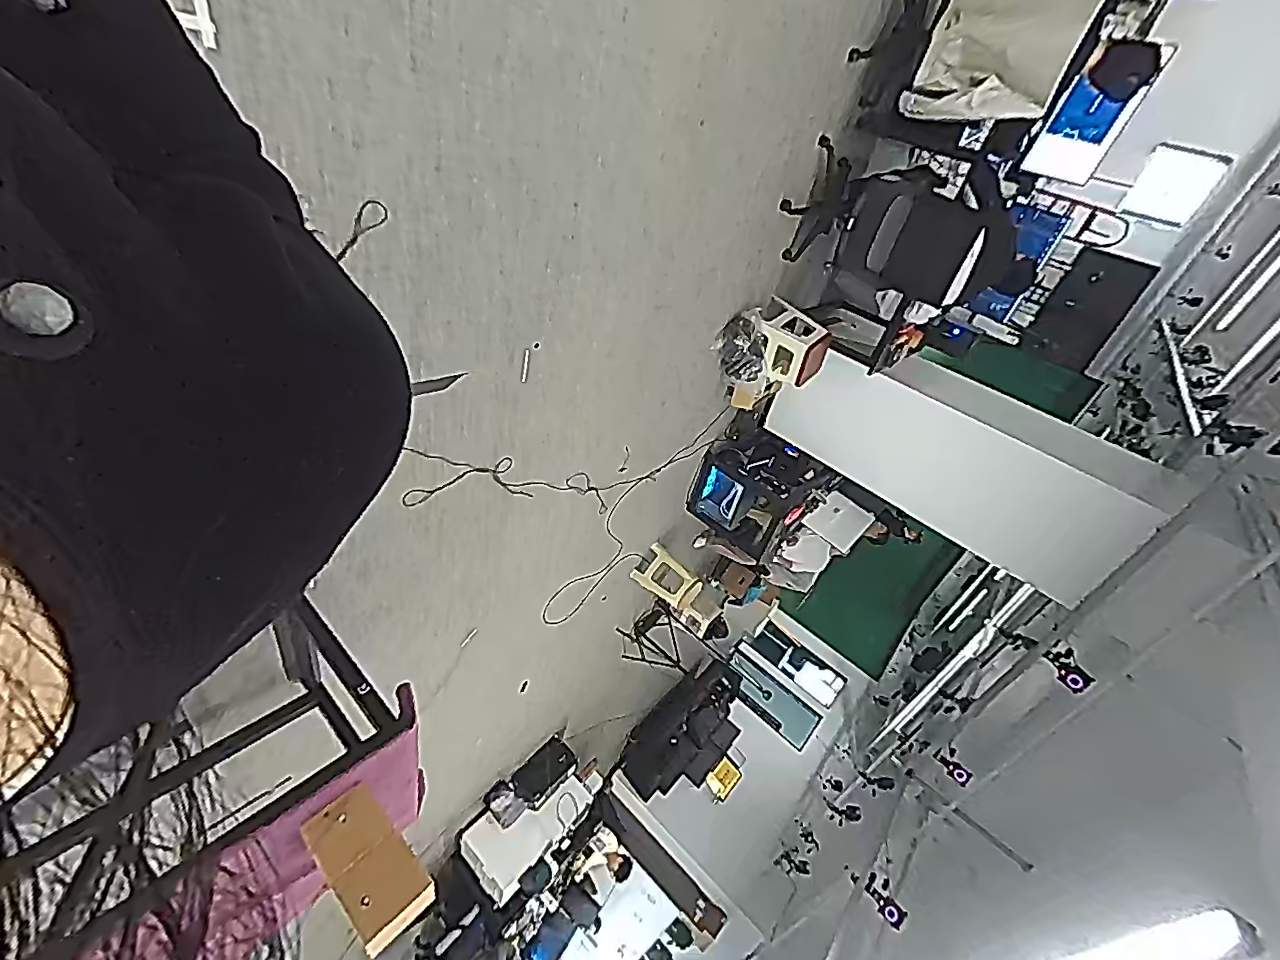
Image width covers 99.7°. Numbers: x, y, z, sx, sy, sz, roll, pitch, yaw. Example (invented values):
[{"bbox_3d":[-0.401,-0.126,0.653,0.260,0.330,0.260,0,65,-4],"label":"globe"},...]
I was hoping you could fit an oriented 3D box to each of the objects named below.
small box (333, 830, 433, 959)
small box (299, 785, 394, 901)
[{"bbox_3d":[-0.649,1.041,1.365,0.179,0.176,0.168,-31,149,-42],"label":"small box"},{"bbox_3d":[-0.769,0.954,1.430,0.168,0.176,0.179,-30,146,-43],"label":"small box"}]
